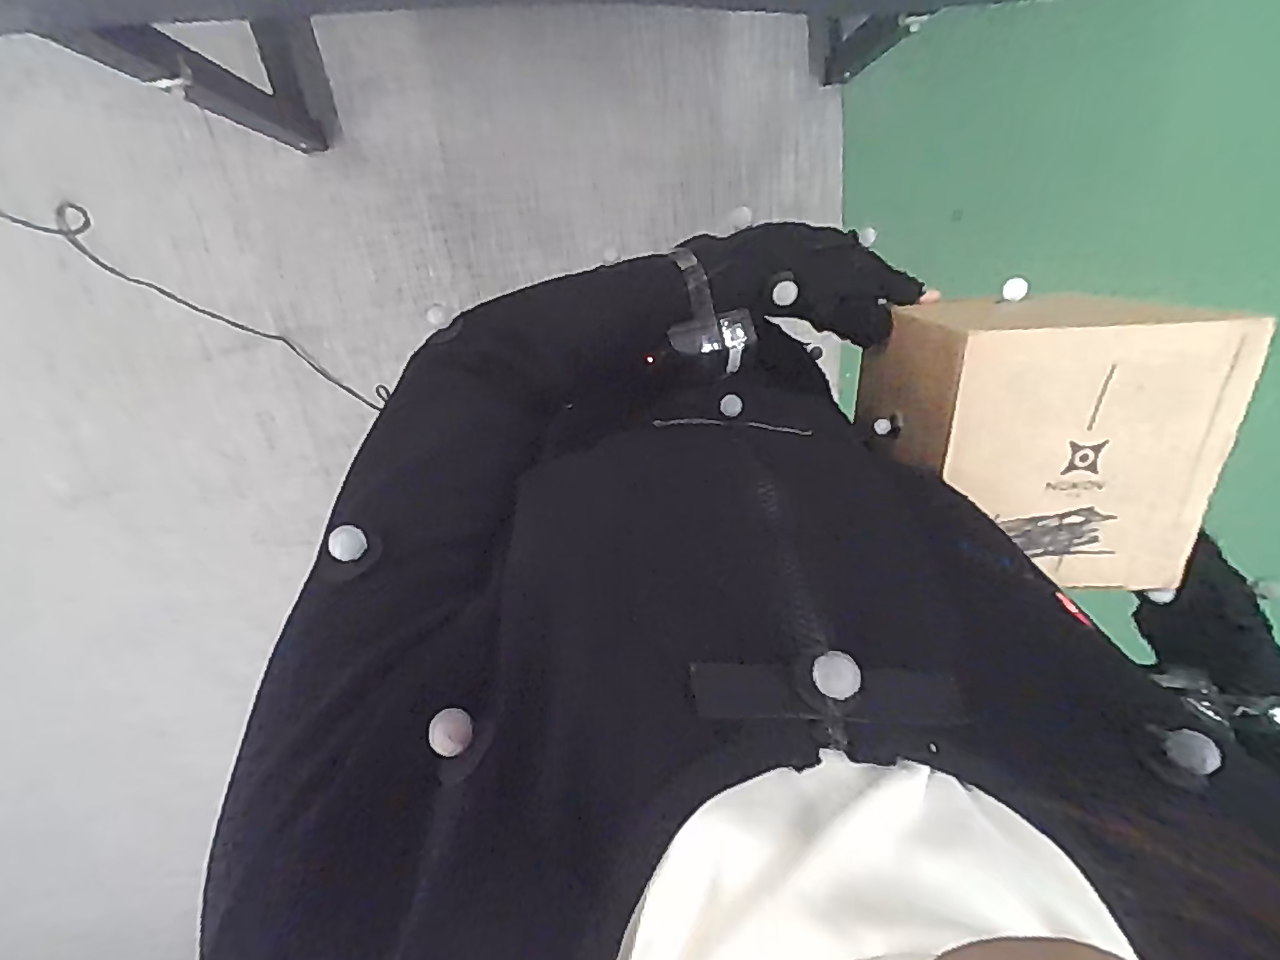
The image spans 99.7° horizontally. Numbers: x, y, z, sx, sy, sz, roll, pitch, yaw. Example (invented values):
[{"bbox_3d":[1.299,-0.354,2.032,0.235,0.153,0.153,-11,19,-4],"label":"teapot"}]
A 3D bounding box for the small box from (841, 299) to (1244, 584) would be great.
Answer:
[{"bbox_3d":[0.267,-0.040,0.416,0.168,0.176,0.179,0,113,2],"label":"small box"}]
